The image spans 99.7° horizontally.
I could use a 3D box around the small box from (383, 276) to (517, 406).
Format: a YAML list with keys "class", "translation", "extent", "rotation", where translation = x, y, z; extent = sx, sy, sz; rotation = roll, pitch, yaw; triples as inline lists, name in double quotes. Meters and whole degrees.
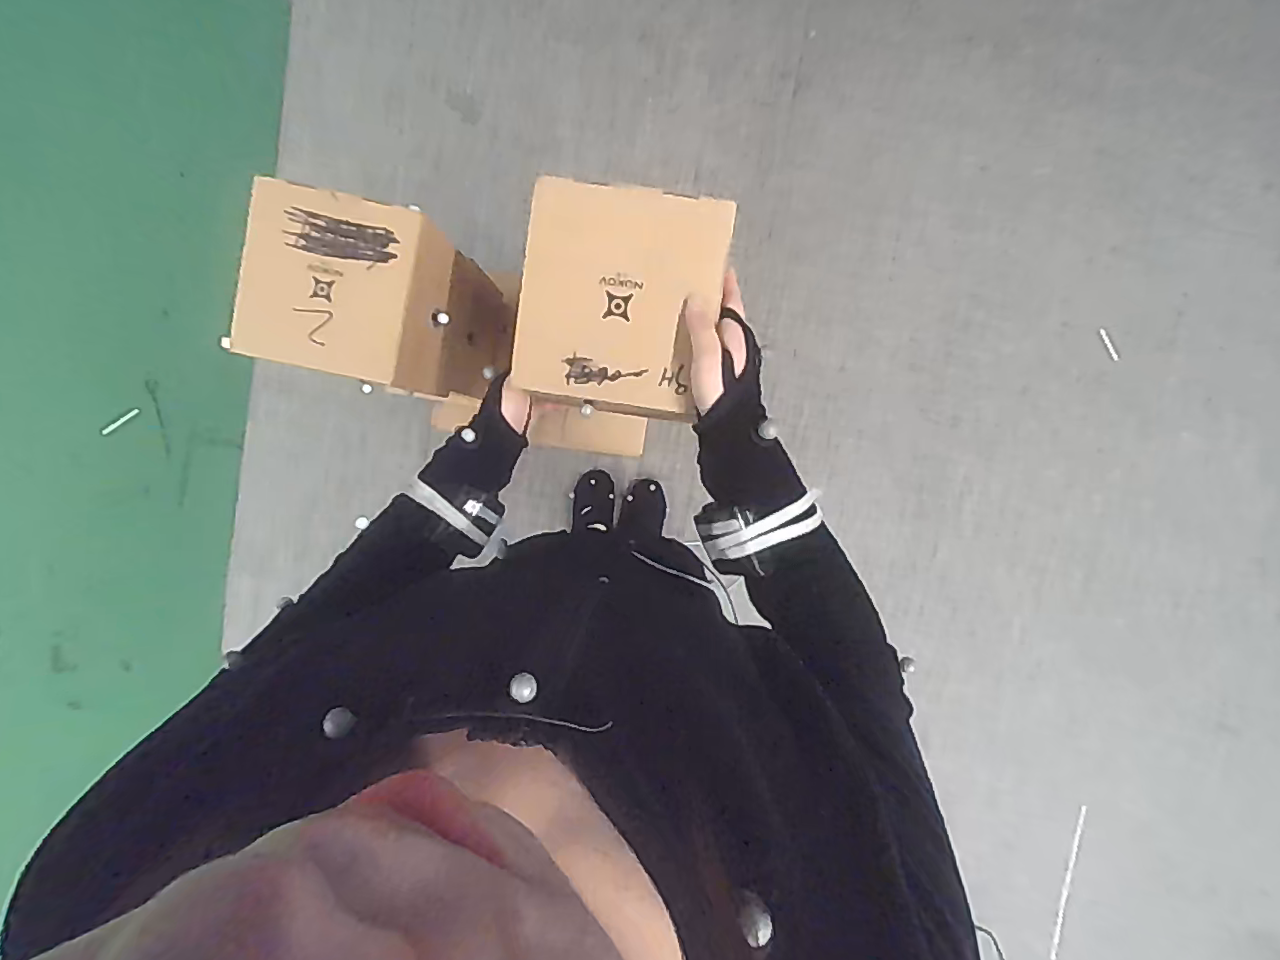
- class: "small box"
  translation: [-0.318, -0.229, 0.938]
  extent: [0.168, 0.176, 0.179]
  rotation: [10, 94, -2]

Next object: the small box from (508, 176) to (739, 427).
- class: "small box"
  translation: [-0.012, -0.152, 0.521]
  extent: [0.168, 0.176, 0.179]
  rotation: [11, 94, 2]
